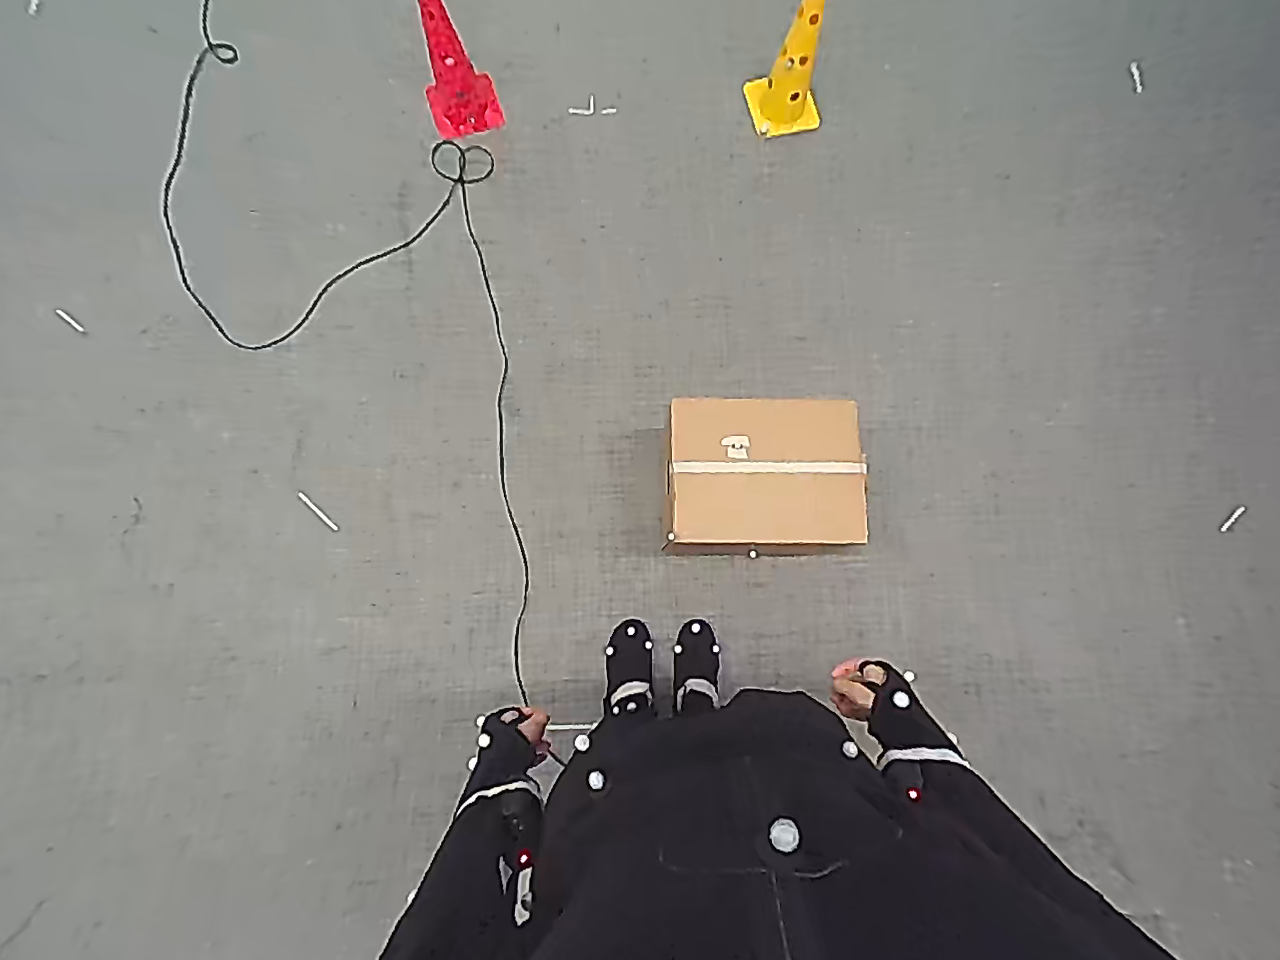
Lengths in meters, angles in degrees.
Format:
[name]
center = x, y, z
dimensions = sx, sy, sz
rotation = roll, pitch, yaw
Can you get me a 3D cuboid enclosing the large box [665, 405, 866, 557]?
[large box]
center = 0.268, 0.020, 1.288
dimensions = 0.408, 0.320, 0.320
rotation = 0, 77, 0
